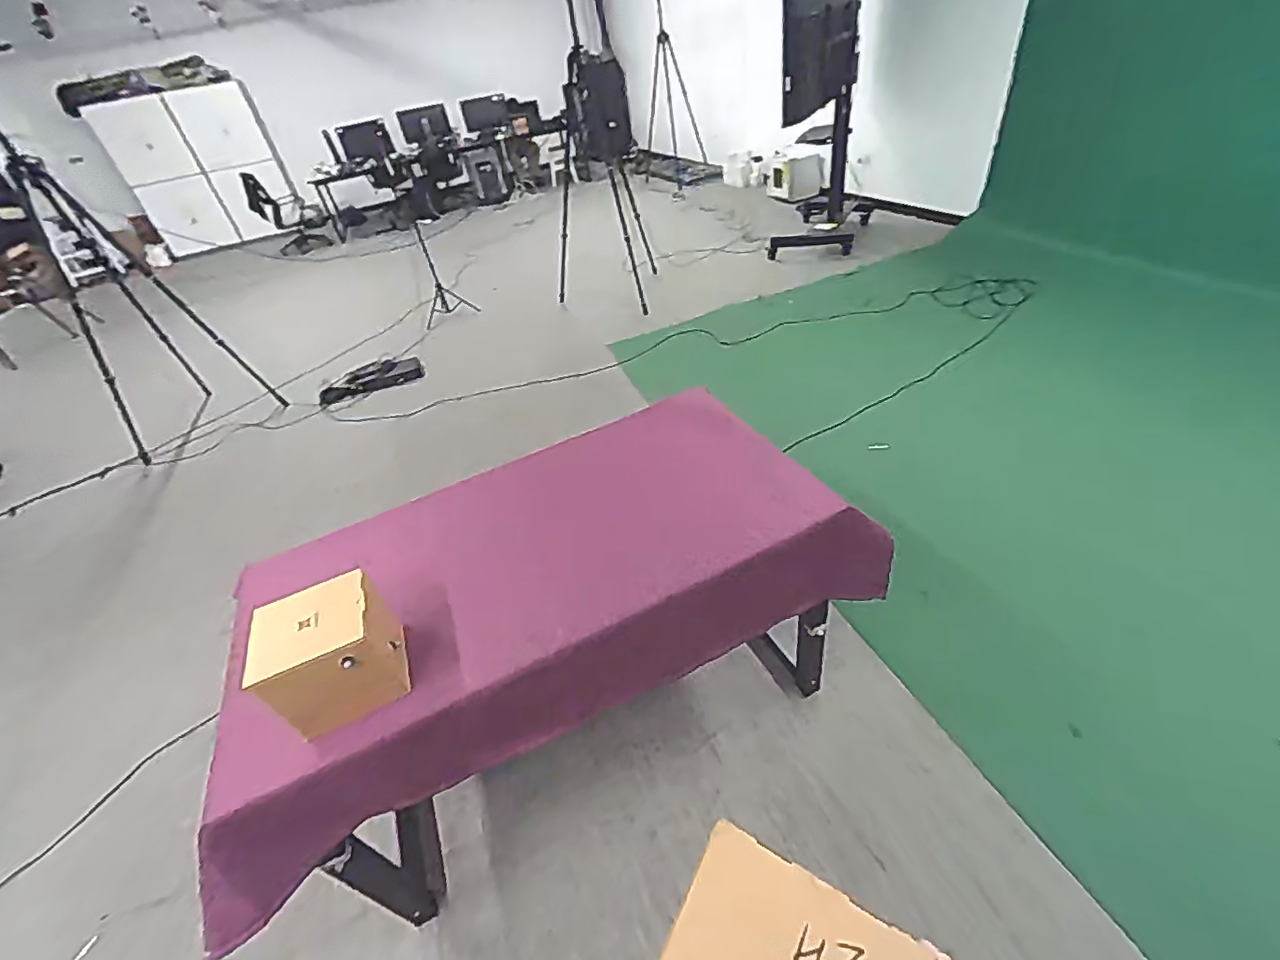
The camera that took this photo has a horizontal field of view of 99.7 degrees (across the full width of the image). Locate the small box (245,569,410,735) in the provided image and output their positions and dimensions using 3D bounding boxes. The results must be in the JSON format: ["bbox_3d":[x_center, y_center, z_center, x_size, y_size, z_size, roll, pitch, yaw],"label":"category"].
[{"bbox_3d":[-0.511,0.288,0.904,0.179,0.176,0.168,-22,40,-15],"label":"small box"}]
